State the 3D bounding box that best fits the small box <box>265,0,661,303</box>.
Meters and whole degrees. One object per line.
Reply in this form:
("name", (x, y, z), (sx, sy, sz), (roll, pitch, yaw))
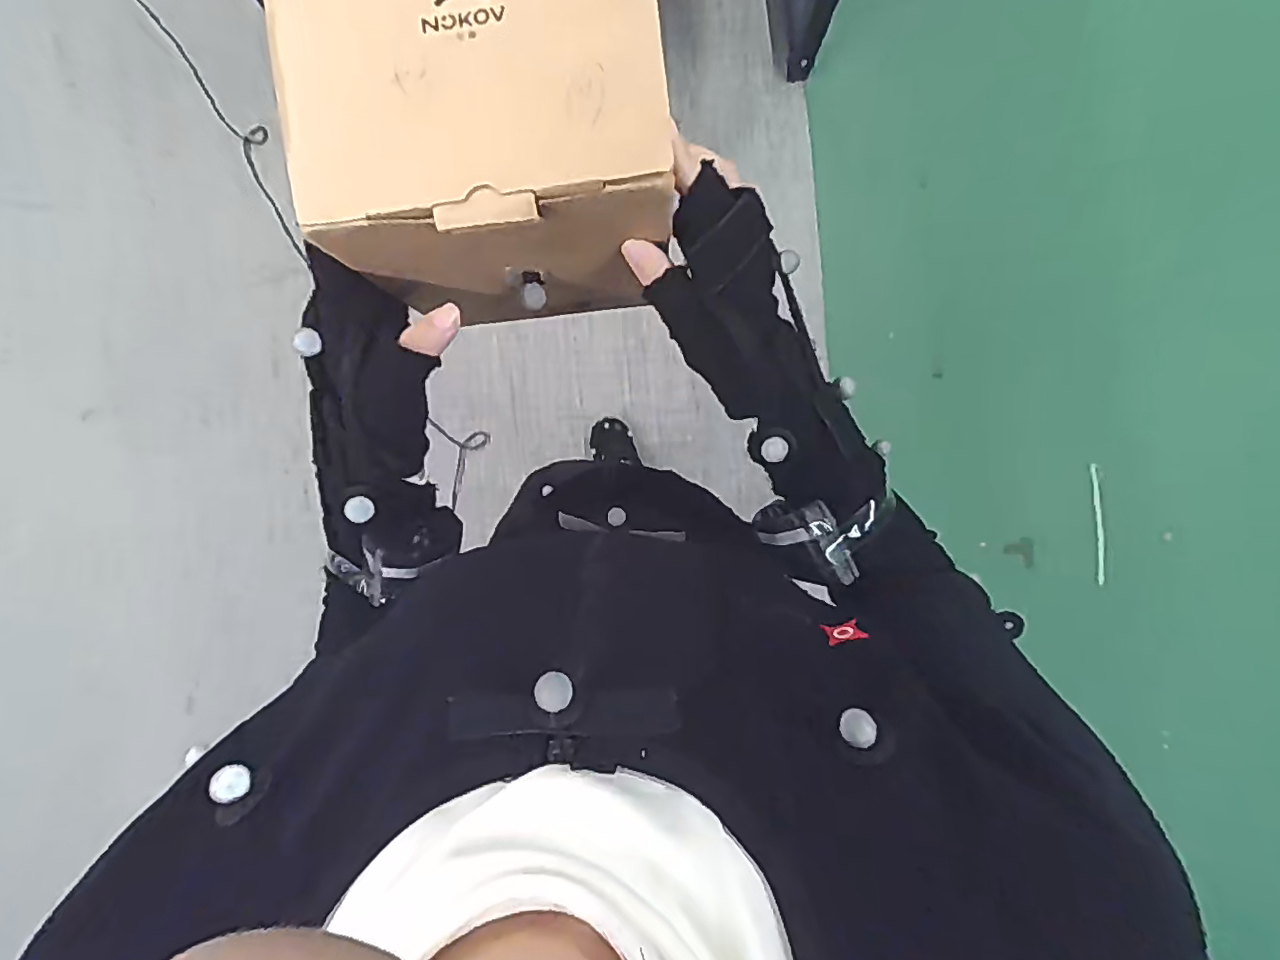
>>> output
("small box", (-0.076, -0.211, 0.311), (0.168, 0.176, 0.179), (-6, 93, 2))
